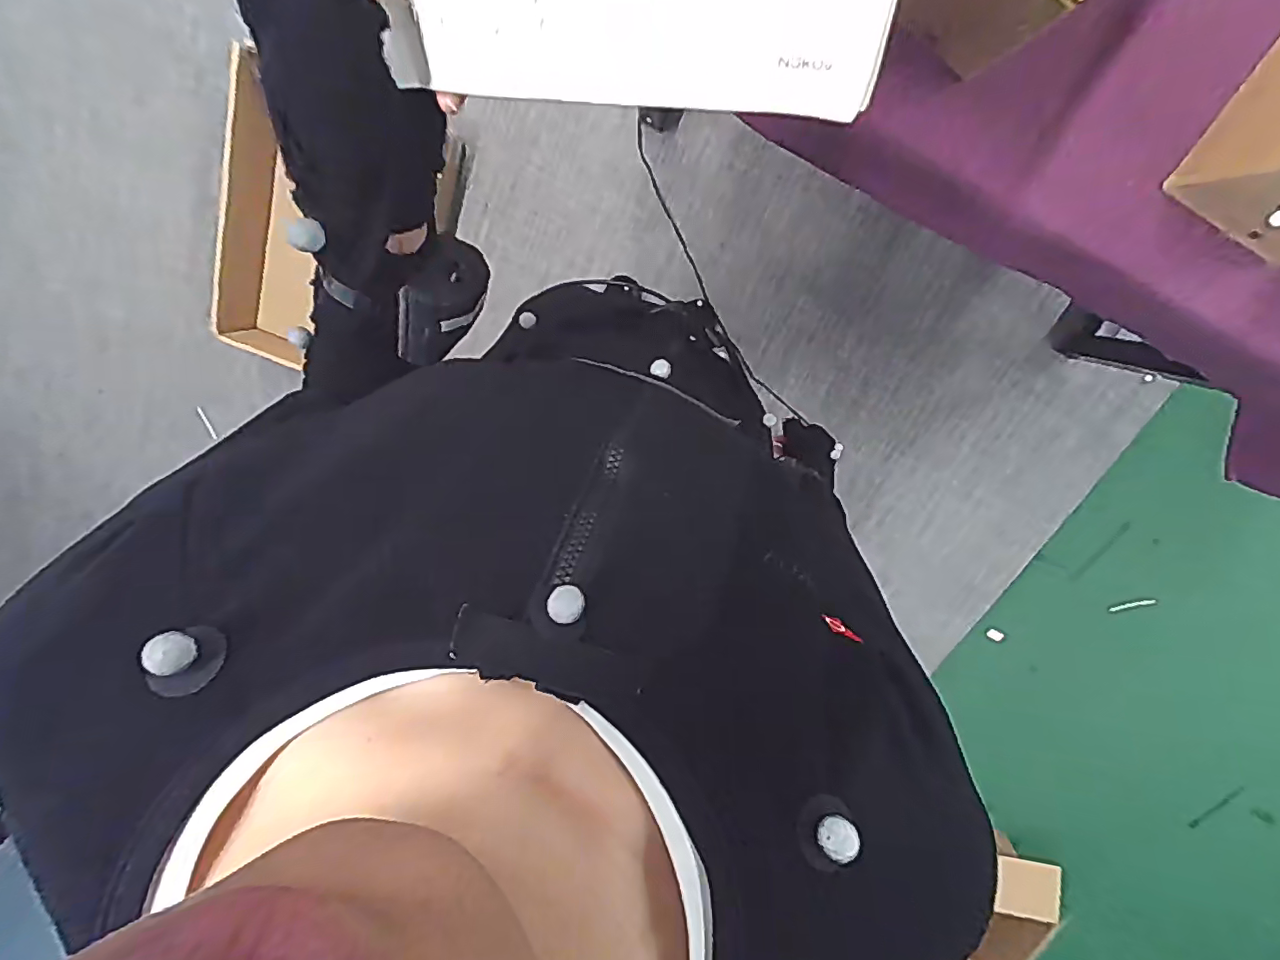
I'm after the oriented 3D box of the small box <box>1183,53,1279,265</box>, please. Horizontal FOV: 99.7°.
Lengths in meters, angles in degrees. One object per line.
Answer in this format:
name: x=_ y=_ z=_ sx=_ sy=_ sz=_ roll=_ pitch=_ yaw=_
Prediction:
small box: x=0.663 y=-0.309 z=0.485 sx=0.168 sy=0.176 sz=0.179 roll=29 pitch=111 yaw=-7
